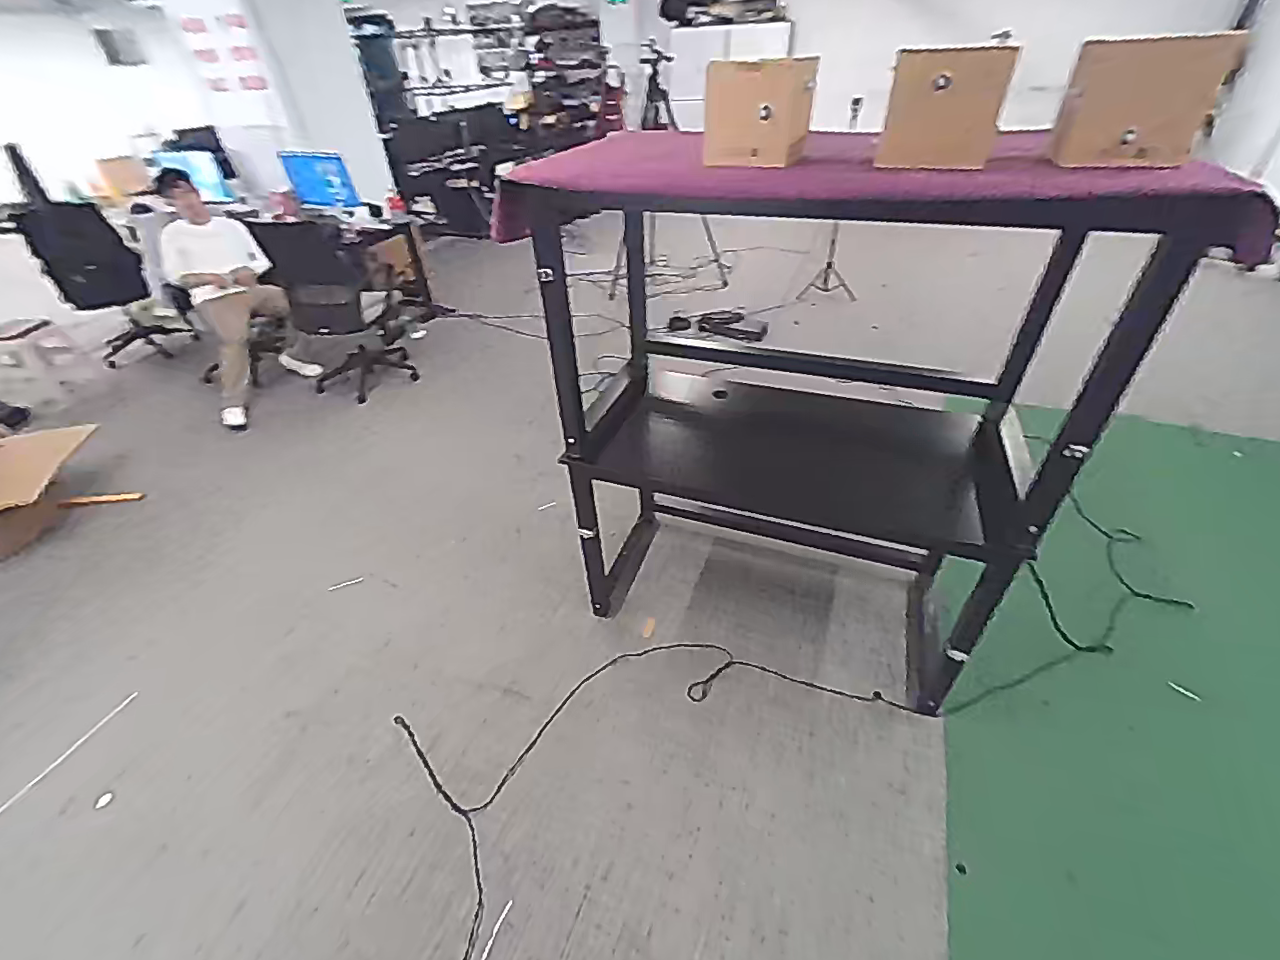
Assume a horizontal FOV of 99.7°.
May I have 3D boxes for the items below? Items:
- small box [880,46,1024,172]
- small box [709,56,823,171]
[{"bbox_3d":[0.529,-0.643,0.942,0.179,0.176,0.168,12,40,18],"label":"small box"},{"bbox_3d":[0.239,-0.705,1.043,0.168,0.176,0.179,17,42,23],"label":"small box"}]
